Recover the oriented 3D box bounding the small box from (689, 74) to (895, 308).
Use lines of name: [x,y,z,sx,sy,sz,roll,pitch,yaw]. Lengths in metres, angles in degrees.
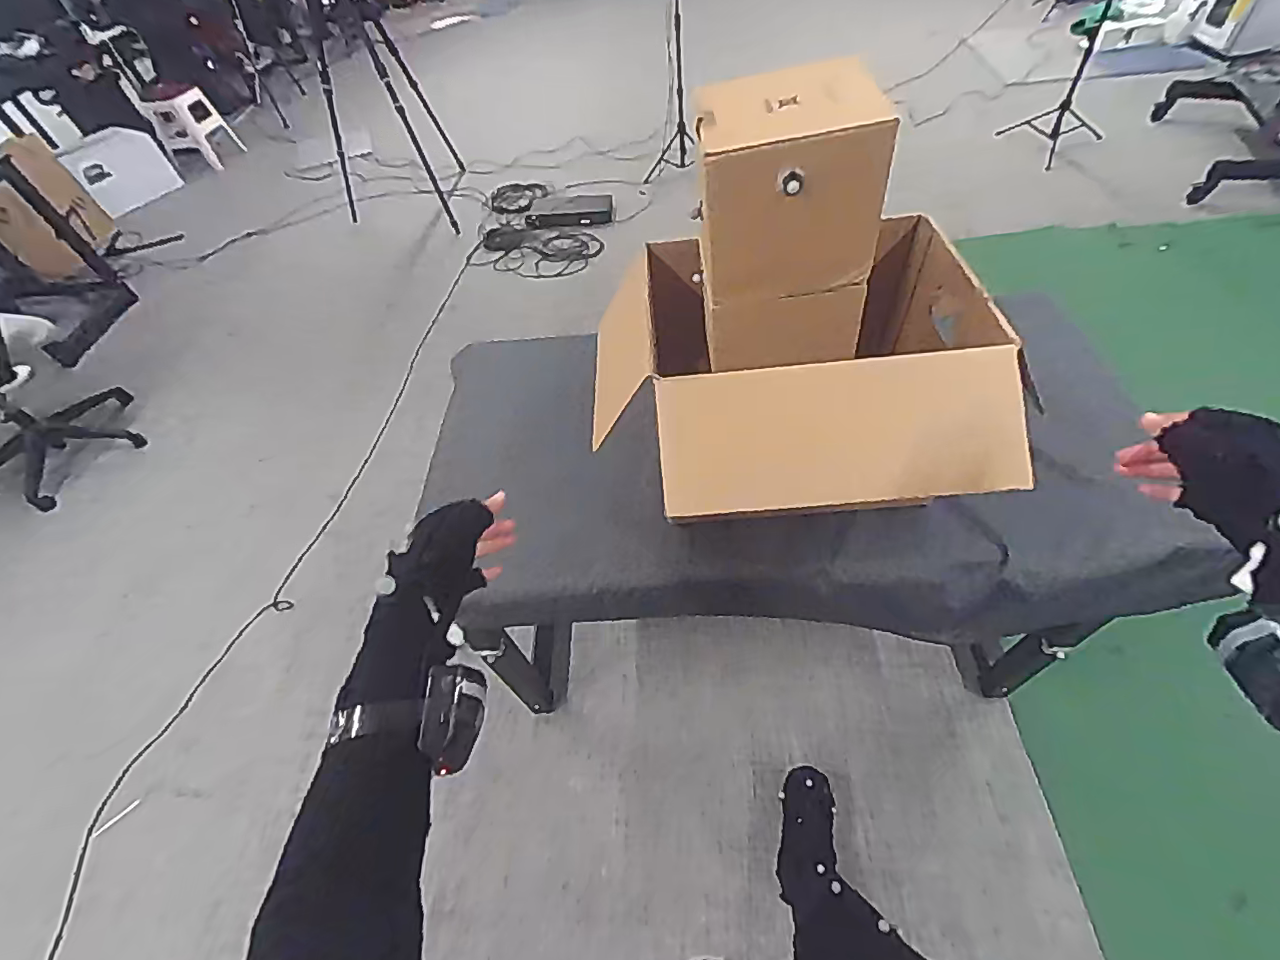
small box: [0.154,-0.312,0.601,0.179,0.176,0.168,-6,53,5]
